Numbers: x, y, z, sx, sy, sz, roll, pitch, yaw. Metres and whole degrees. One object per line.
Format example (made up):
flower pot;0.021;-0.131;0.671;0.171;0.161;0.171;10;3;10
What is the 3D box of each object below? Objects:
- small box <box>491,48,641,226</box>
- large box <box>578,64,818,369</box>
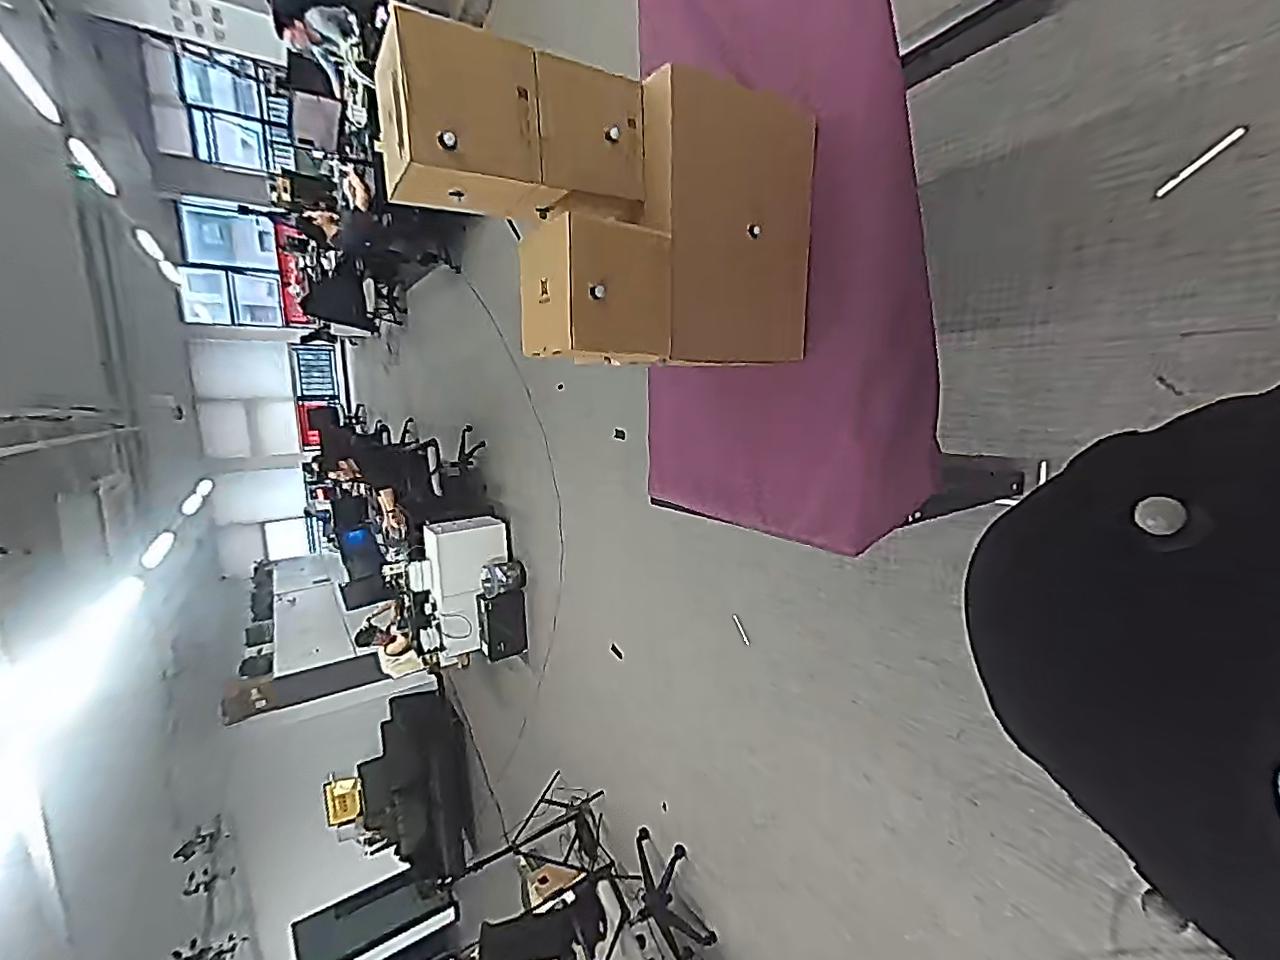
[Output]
small box;-0.112;-0.496;0.816;0.179;0.176;0.168;15;110;56
large box;0.094;-0.414;0.970;0.320;0.320;0.408;15;110;57
